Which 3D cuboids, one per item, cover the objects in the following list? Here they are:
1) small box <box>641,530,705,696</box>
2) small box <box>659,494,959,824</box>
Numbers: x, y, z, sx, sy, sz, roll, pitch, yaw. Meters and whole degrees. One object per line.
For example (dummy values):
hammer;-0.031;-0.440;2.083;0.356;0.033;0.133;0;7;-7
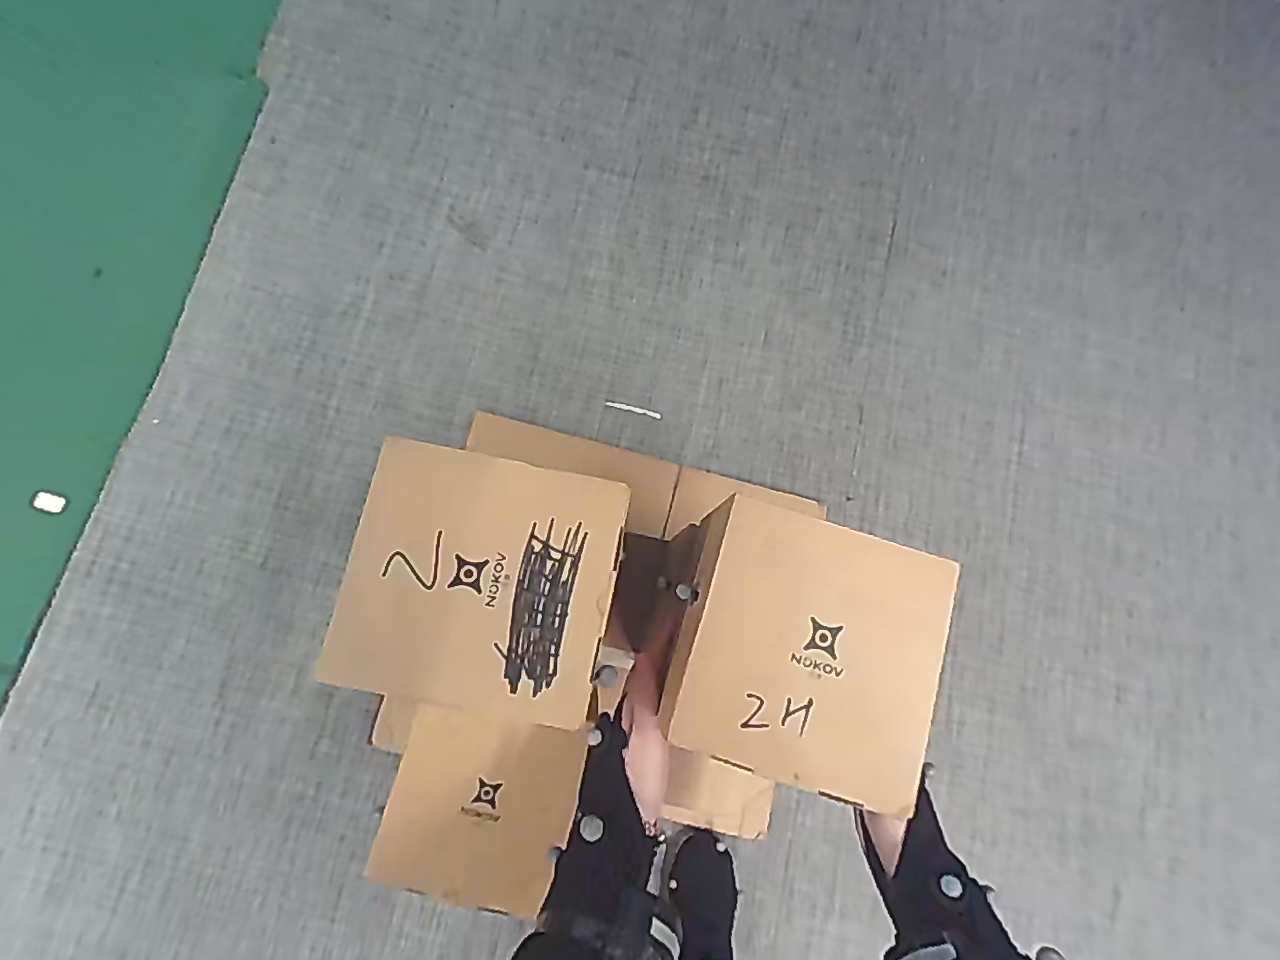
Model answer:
small box;0.108;0.164;0.605;0.179;0.176;0.168;17;79;2
small box;0.118;0.131;0.440;0.168;0.176;0.179;18;78;2
